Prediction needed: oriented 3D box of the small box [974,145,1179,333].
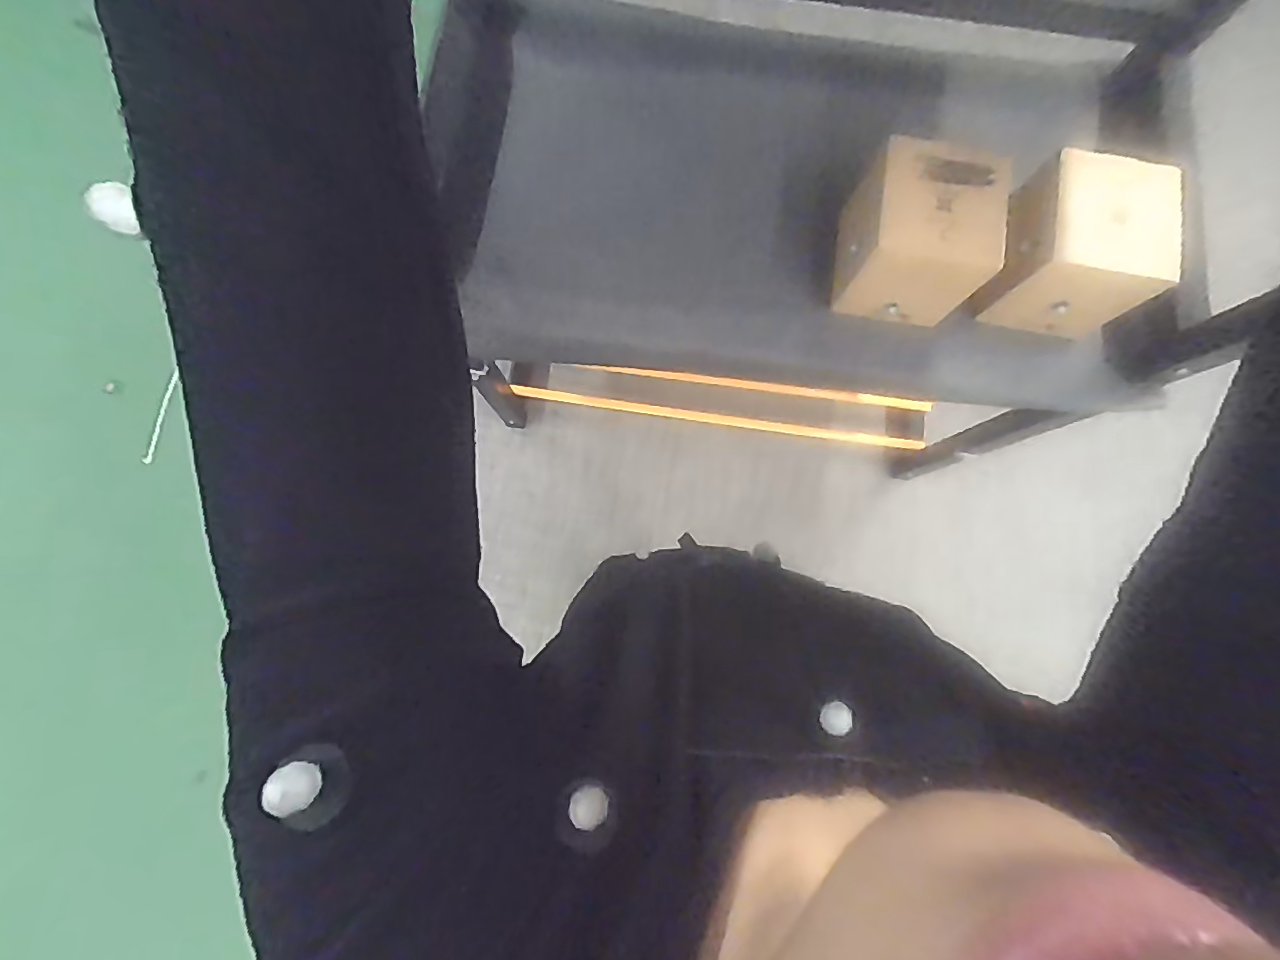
[{"bbox_3d":[0.619,-0.338,0.787,0.168,0.176,0.179,11,79,1],"label":"small box"}]
